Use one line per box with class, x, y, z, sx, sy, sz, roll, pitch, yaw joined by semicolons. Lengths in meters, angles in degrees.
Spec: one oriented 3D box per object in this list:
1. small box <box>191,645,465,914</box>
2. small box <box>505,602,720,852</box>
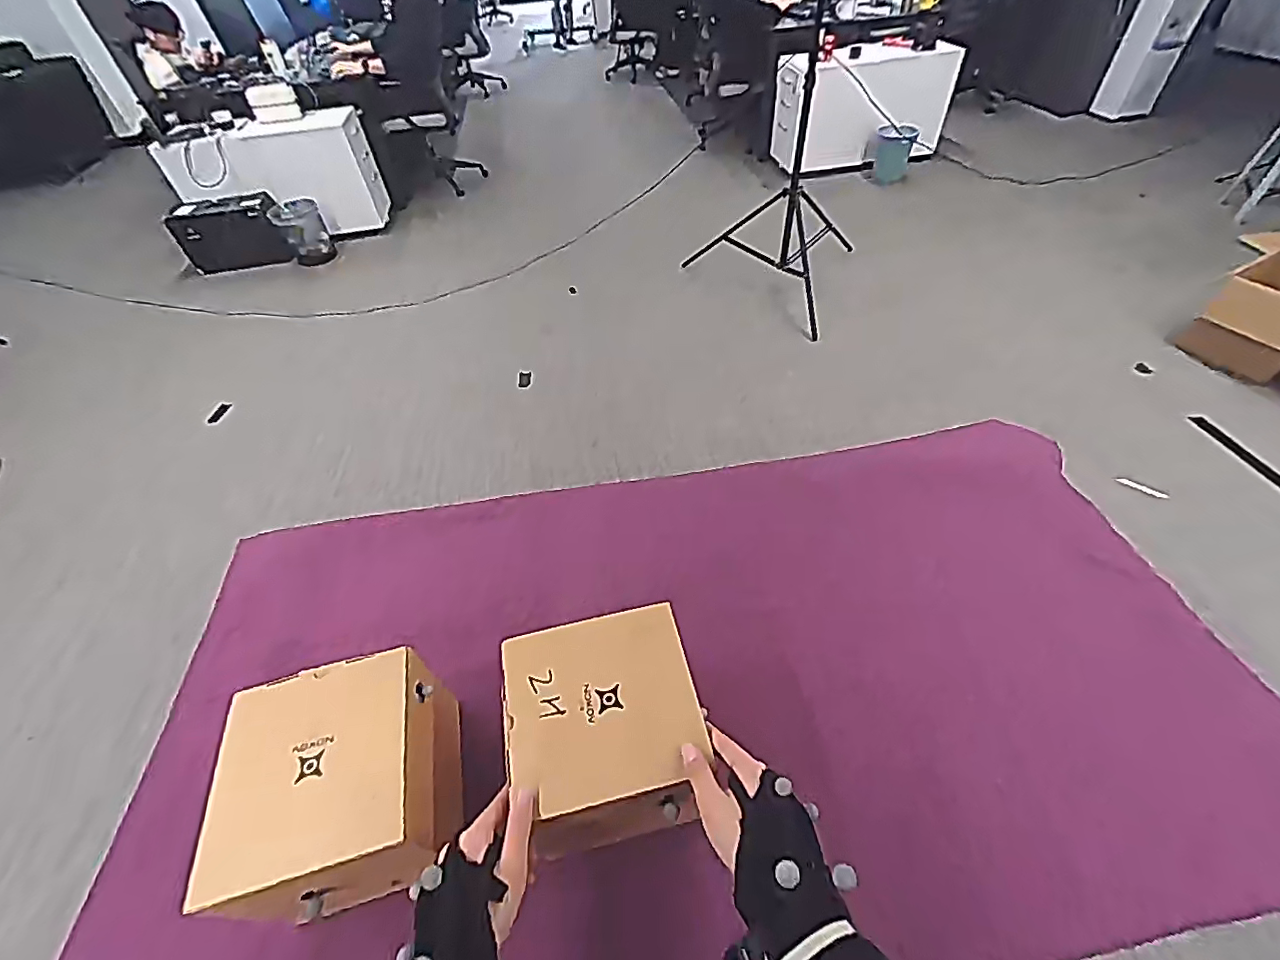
small box;-0.281;0.299;0.535;0.168;0.176;0.179;-15;48;-8
small box;-0.029;0.253;0.551;0.179;0.176;0.168;-12;47;-6
